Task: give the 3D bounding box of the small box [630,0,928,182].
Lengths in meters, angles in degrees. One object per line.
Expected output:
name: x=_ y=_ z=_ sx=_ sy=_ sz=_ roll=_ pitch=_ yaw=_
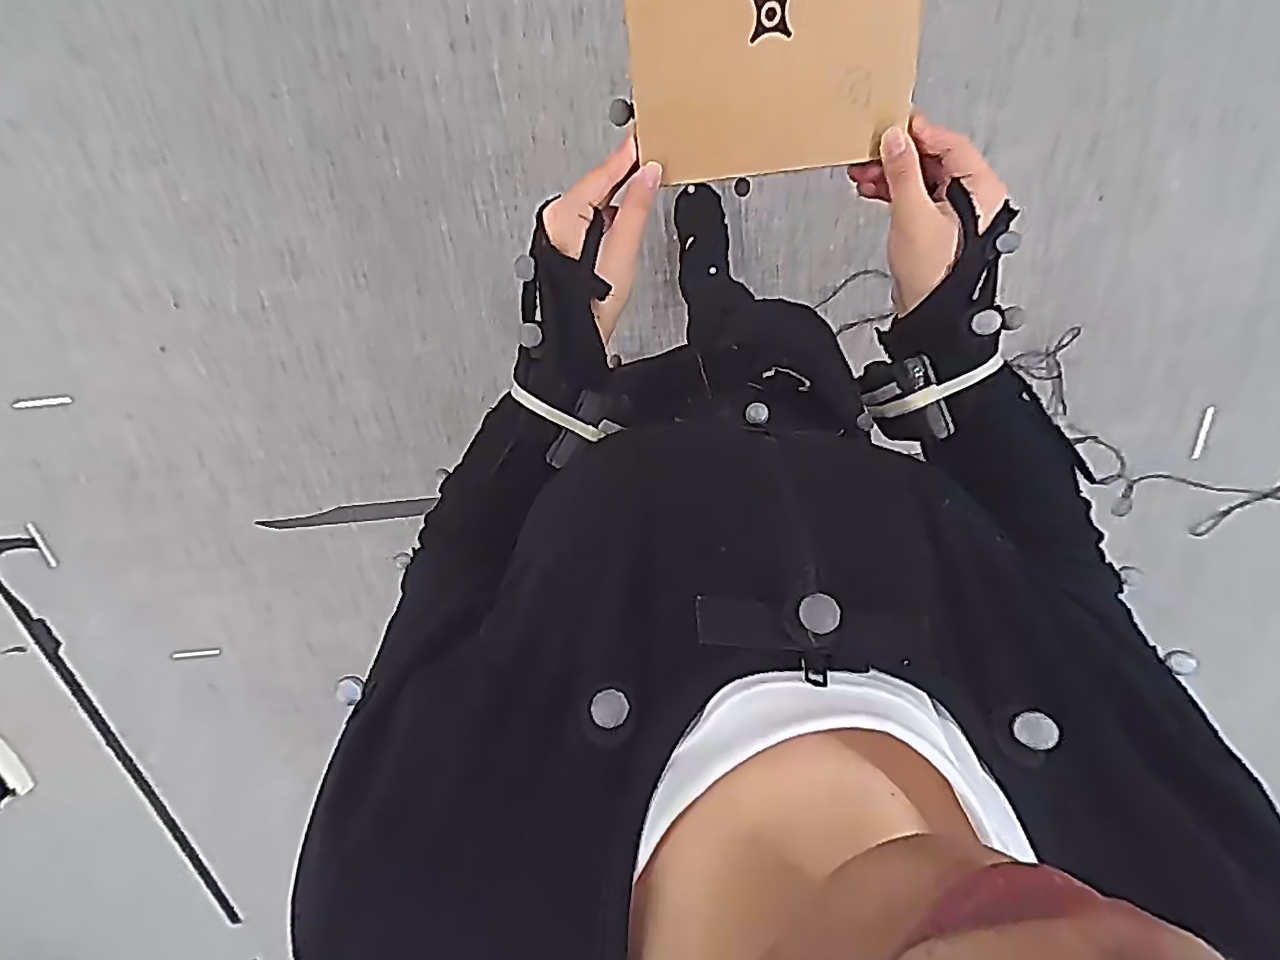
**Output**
small box: x=0.078 y=-0.311 z=0.365 sx=0.168 sy=0.176 sz=0.179 roll=-5 pitch=119 yaw=4
